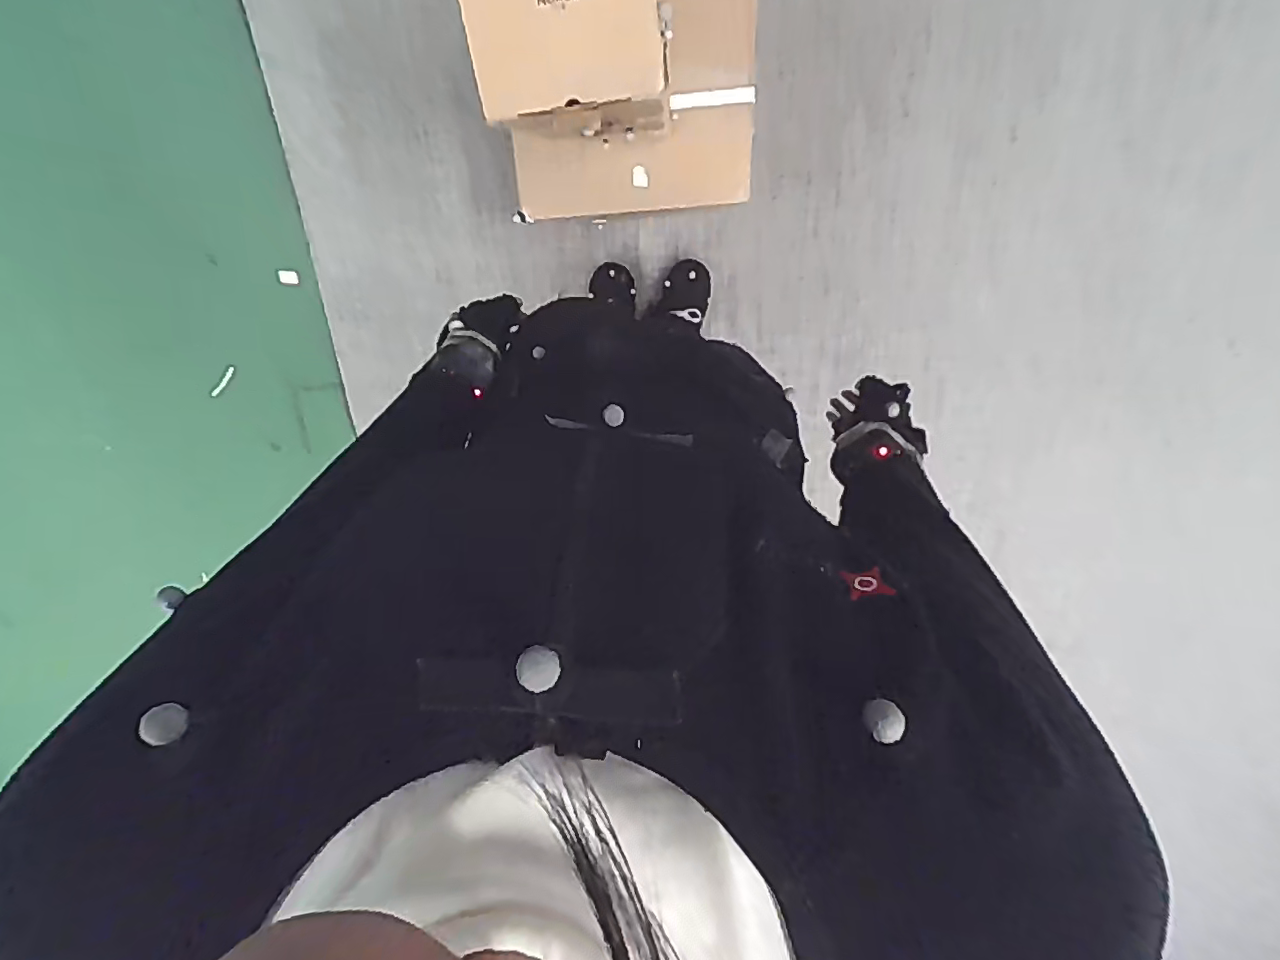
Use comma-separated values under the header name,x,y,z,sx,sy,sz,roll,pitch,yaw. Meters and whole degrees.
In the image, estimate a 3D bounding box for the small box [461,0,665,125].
name,x,y,z,sx,sy,sz,roll,pitch,yaw
small box,-0.065,-0.449,0.513,0.168,0.176,0.179,-4,120,6

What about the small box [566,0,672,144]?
name,x,y,z,sx,sy,sz,roll,pitch,yaw
small box,-0.045,-0.602,0.798,0.179,0.176,0.168,4,118,2

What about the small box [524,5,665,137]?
name,x,y,z,sx,sy,sz,roll,pitch,yaw
small box,-0.057,-0.527,0.657,0.168,0.176,0.179,-3,118,5
